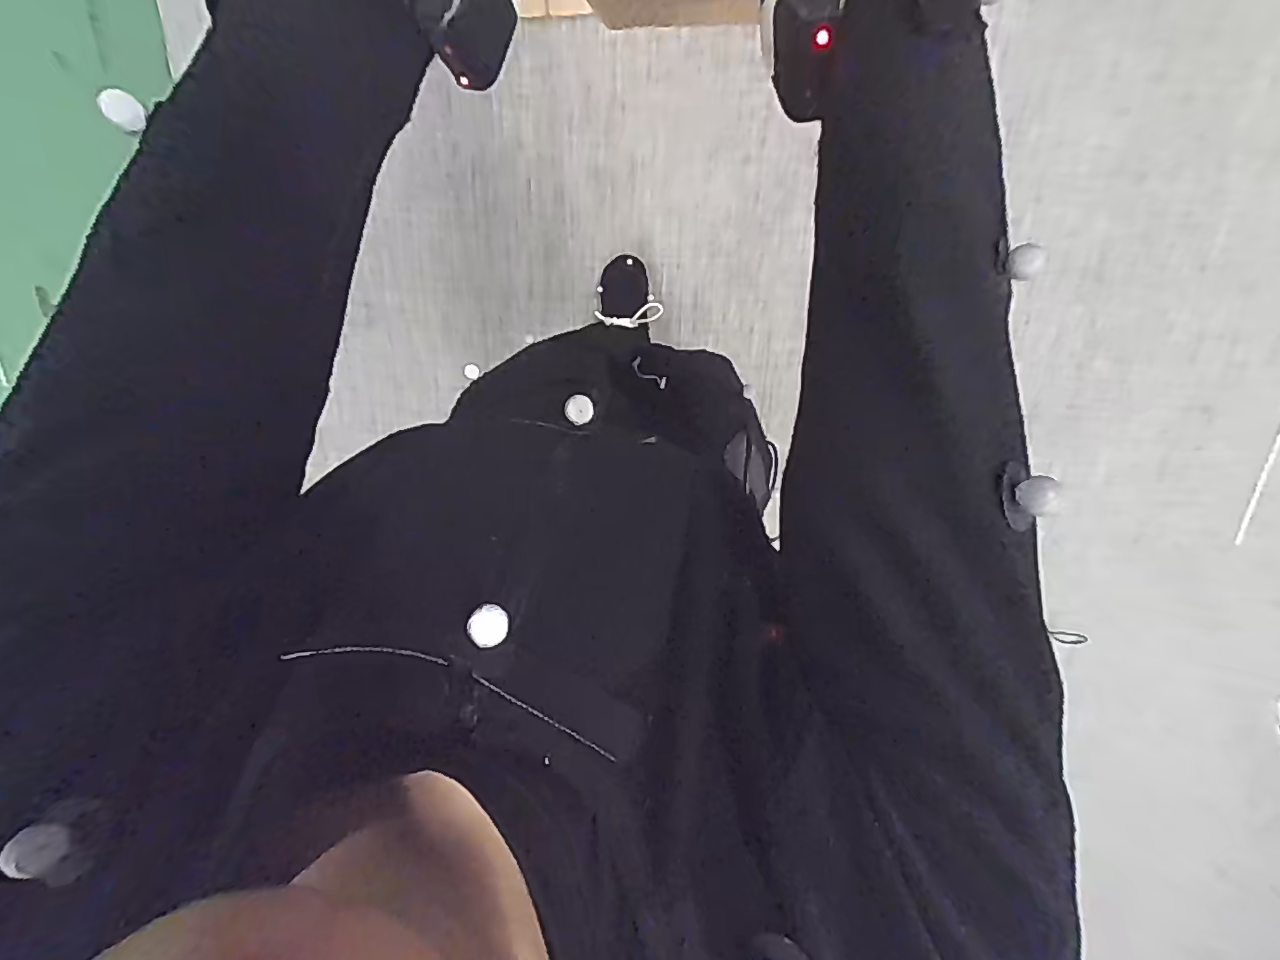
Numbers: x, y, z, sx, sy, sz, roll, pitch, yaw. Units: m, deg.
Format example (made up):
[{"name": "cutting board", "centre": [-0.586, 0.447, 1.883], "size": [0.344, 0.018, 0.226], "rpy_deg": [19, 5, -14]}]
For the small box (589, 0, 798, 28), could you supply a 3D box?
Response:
[{"name": "small box", "centre": [0.035, -0.443, 0.374], "size": [0.179, 0.176, 0.168], "rpy_deg": [6, 115, 9]}]
